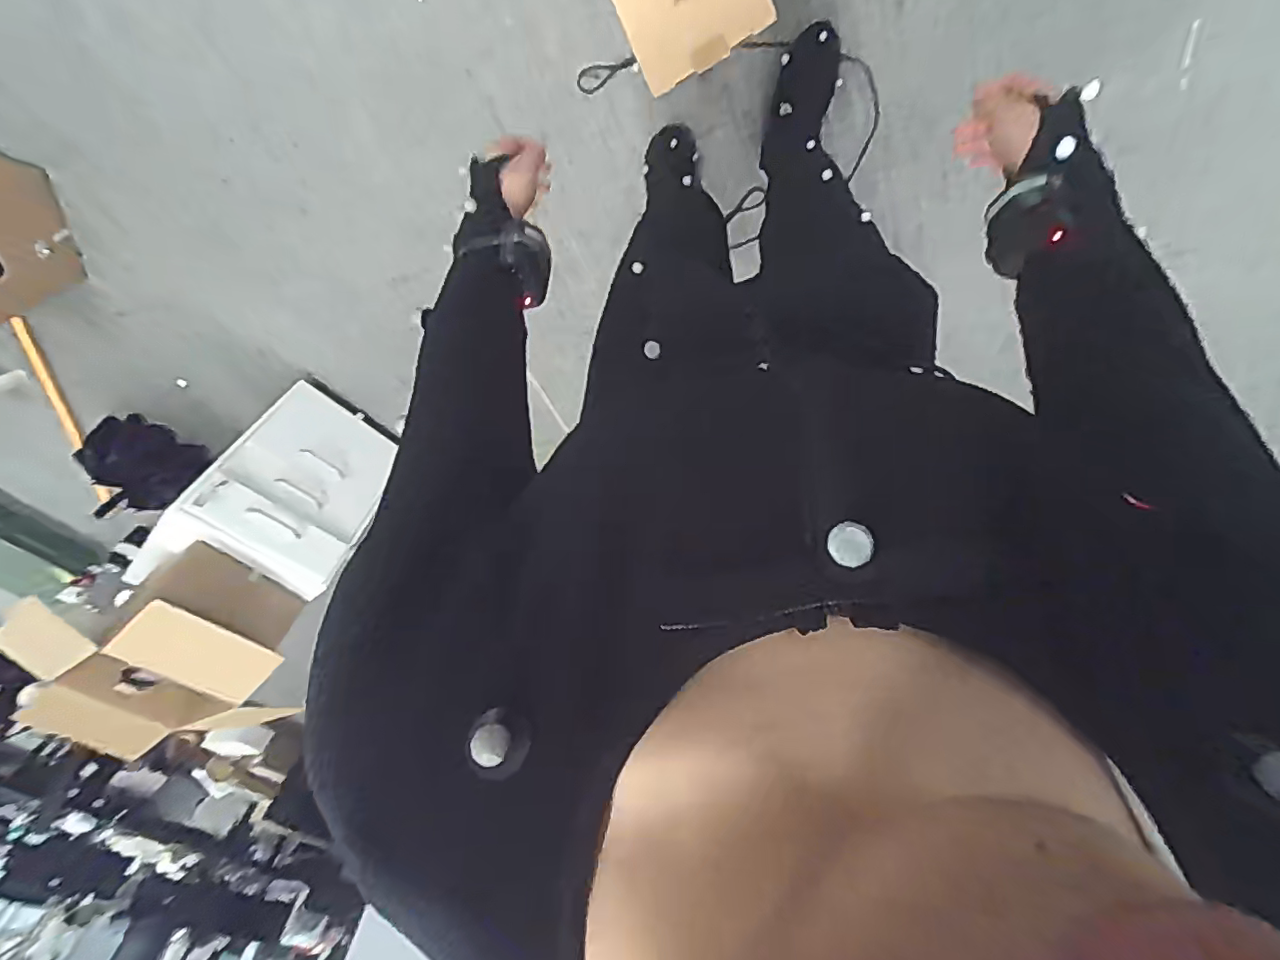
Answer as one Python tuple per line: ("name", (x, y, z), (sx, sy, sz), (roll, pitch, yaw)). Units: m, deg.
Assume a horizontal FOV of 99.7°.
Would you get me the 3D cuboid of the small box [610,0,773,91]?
("small box", (0.052, -0.630, 0.667), (0.168, 0.176, 0.179), (-18, 129, 26))
